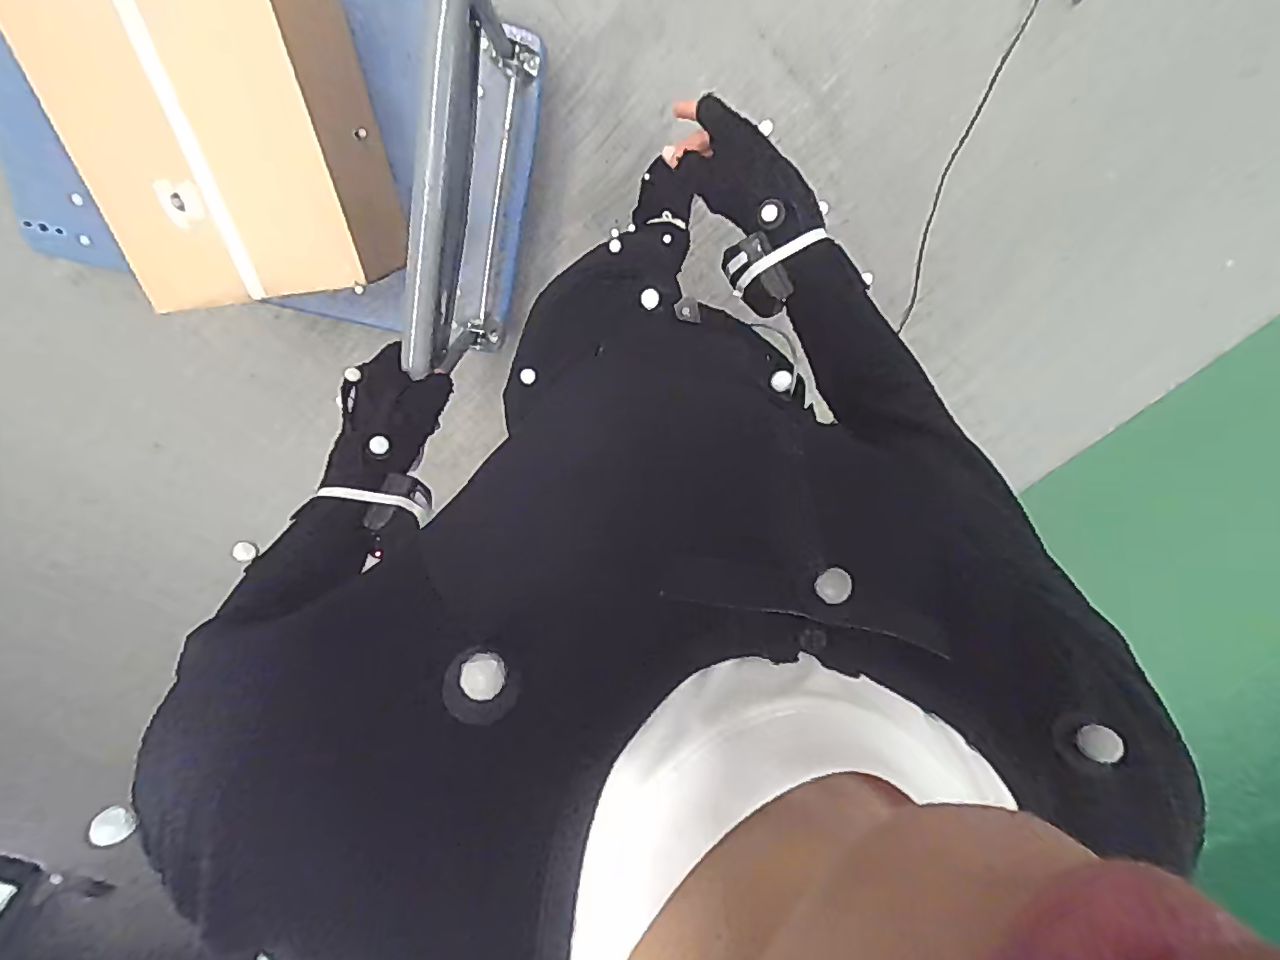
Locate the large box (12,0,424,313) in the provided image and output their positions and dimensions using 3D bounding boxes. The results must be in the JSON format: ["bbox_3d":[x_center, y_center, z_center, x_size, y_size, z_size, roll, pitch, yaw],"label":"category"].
[{"bbox_3d":[-0.586,-0.521,0.856,0.320,0.320,0.408,-9,120,-1],"label":"large box"}]
